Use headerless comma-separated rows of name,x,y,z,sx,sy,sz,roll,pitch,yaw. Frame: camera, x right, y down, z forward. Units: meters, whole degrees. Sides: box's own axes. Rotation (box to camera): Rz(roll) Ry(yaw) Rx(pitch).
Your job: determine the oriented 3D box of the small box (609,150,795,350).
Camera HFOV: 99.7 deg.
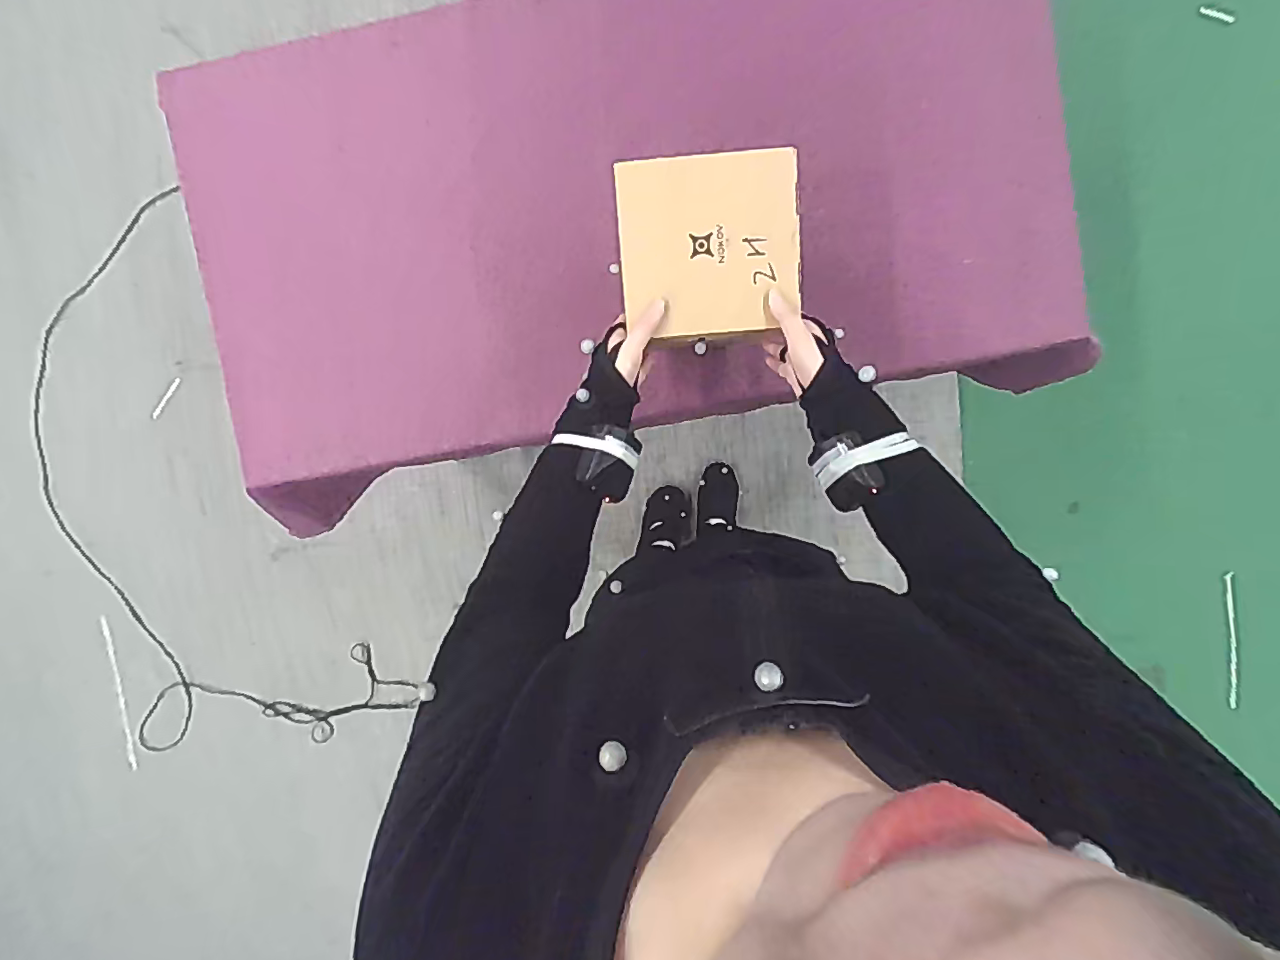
small box,0.065,-0.238,0.601,0.179,0.176,0.168,-4,100,2
